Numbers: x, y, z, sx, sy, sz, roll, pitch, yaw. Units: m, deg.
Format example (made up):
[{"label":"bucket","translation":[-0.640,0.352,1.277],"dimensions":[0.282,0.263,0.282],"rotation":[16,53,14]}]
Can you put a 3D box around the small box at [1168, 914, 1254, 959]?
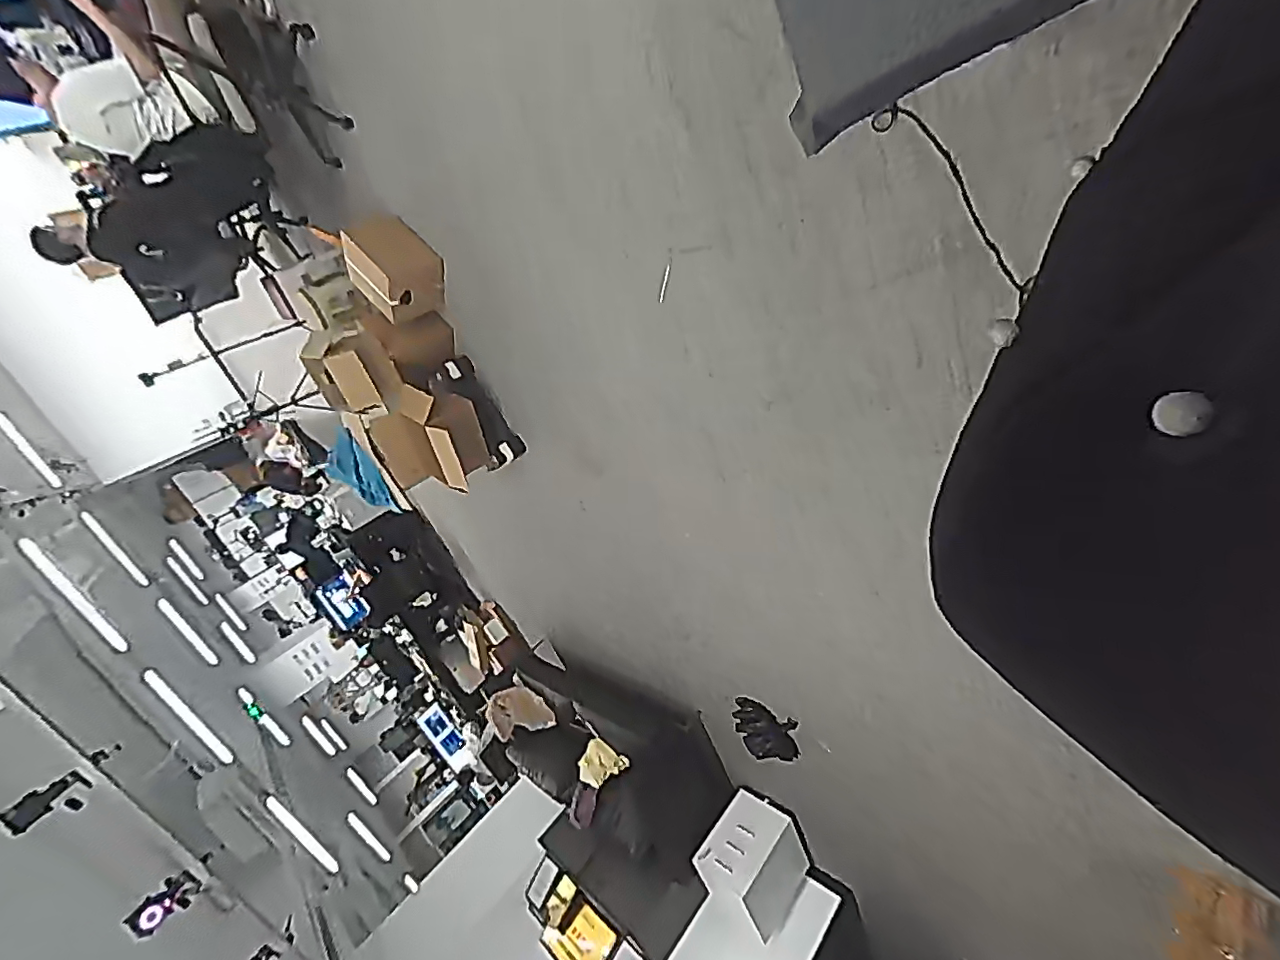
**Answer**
[{"label":"small box","translation":[1.639,1.416,1.553],"dimensions":[0.168,0.176,0.179],"rotation":[3,122,48]}]

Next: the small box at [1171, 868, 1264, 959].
[{"label":"small box","translation":[1.748,1.330,1.639],"dimensions":[0.179,0.176,0.168],"rotation":[6,126,48]}]
